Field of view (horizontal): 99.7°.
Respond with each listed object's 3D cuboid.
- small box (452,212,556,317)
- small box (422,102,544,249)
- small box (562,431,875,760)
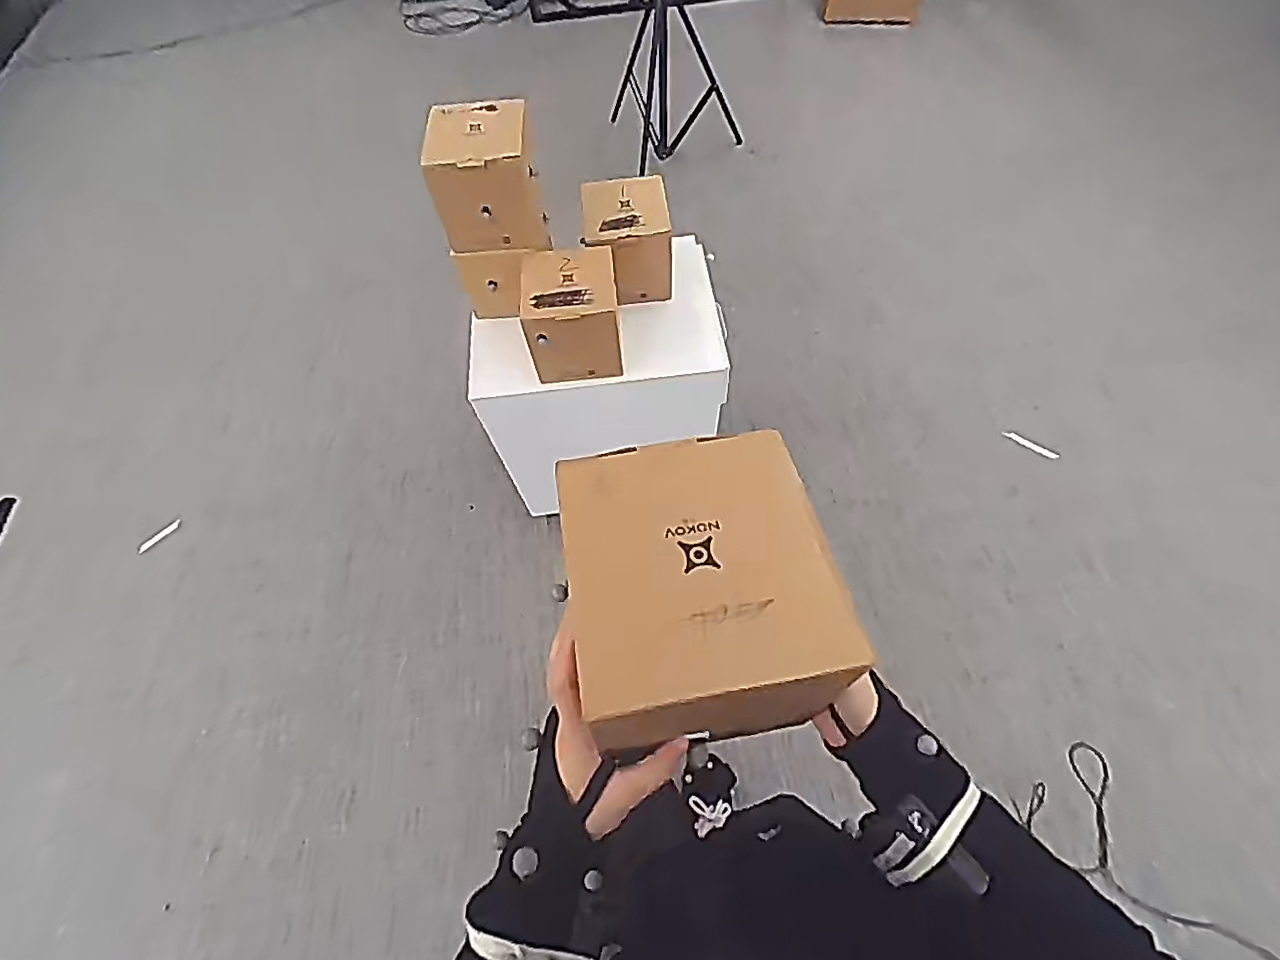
[{"bbox_3d":[-0.269,-0.452,1.112,0.168,0.176,0.179,-4,62,1],"label":"small box"},{"bbox_3d":[-0.270,-0.536,0.971,0.168,0.176,0.179,-4,62,0],"label":"small box"},{"bbox_3d":[0.037,0.089,0.404,0.168,0.176,0.179,-8,56,-5],"label":"small box"}]
